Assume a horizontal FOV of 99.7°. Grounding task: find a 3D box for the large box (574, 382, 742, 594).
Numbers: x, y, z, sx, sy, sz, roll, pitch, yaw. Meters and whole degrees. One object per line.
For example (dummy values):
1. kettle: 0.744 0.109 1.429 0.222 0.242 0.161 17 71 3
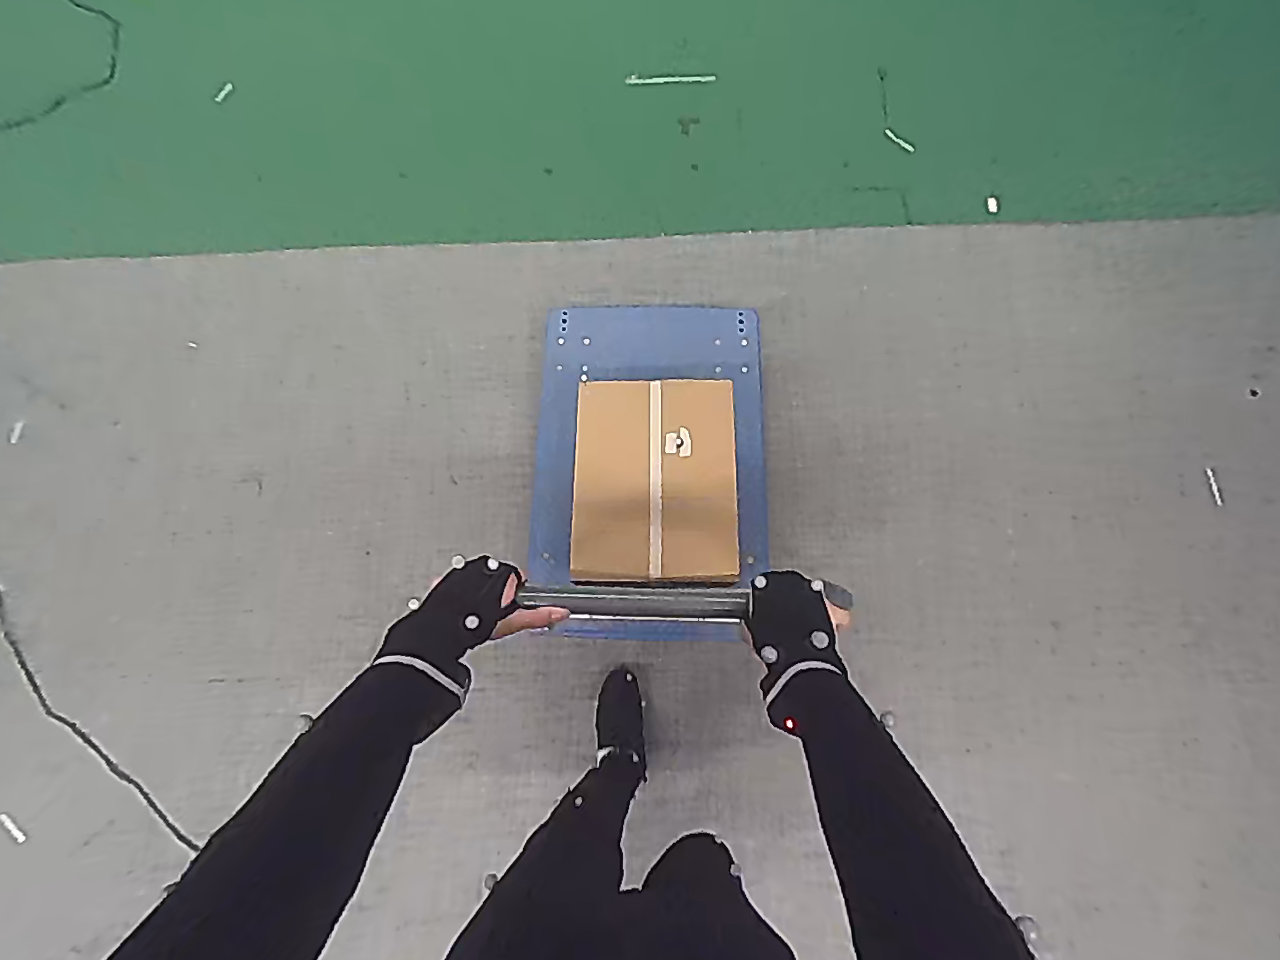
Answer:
1. large box: 0.039 0.035 1.188 0.320 0.320 0.408 1 74 2
